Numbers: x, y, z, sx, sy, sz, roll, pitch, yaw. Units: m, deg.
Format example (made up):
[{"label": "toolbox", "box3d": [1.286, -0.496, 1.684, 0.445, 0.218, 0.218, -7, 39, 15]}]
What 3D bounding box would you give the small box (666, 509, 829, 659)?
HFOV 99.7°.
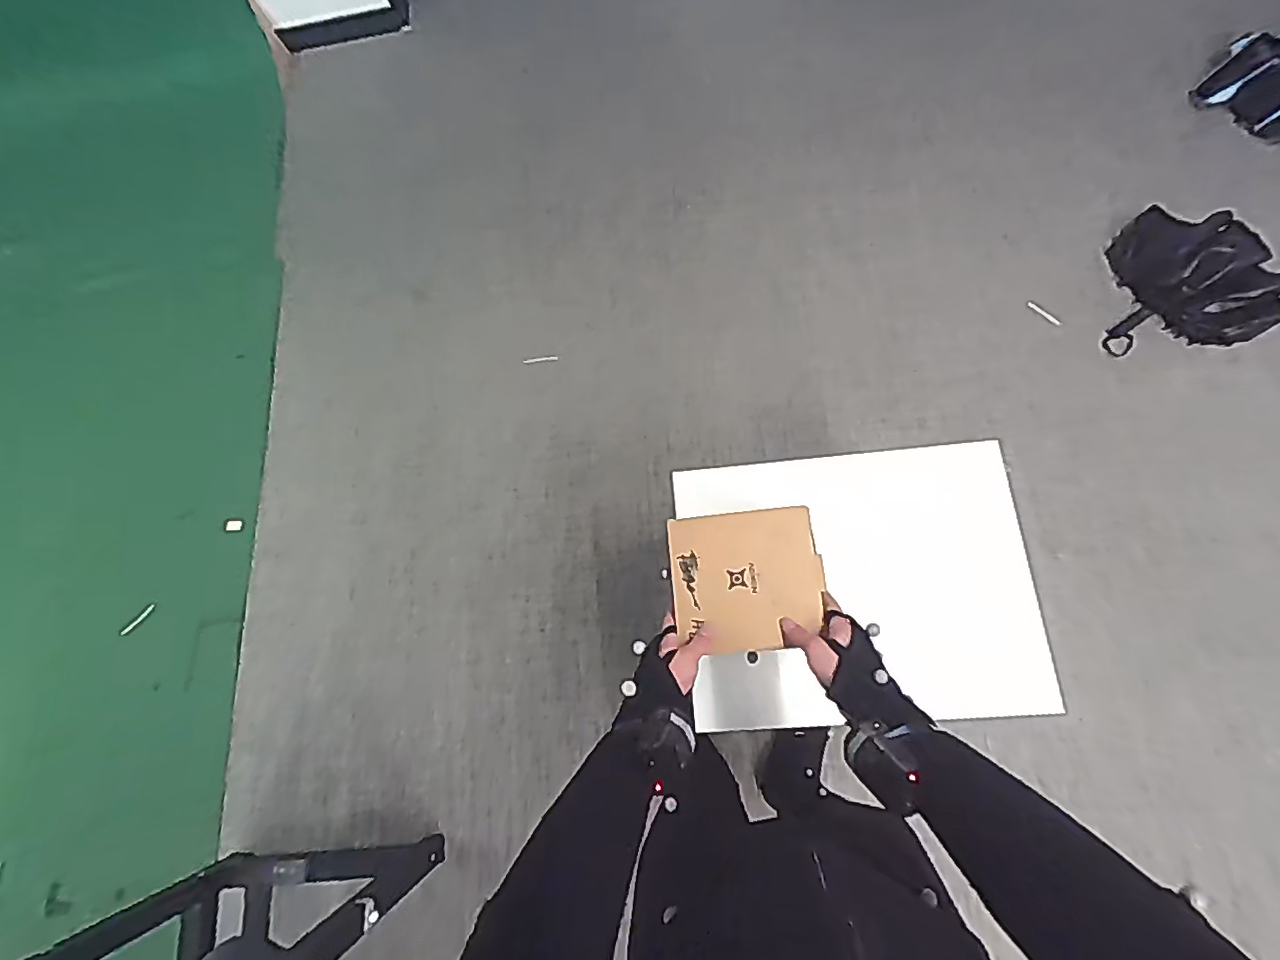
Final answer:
[{"label": "small box", "box3d": [0.133, 0.142, 0.713, 0.179, 0.176, 0.168, -7, 72, 8]}]
